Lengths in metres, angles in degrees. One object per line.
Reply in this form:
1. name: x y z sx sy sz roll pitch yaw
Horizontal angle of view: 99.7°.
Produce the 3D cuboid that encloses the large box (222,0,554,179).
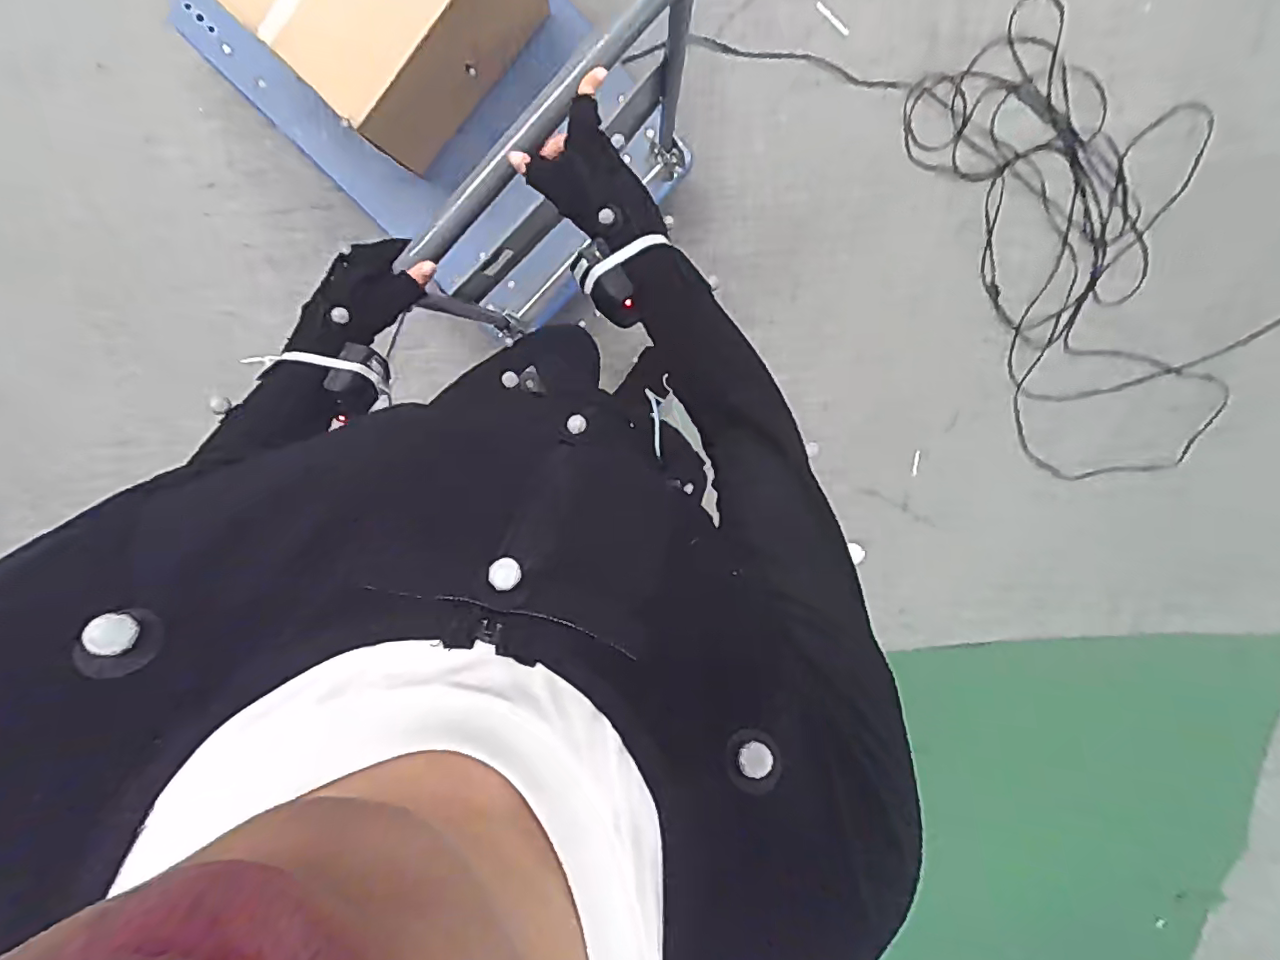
1. large box: -0.396 -0.811 0.908 0.320 0.320 0.408 41 101 -13
